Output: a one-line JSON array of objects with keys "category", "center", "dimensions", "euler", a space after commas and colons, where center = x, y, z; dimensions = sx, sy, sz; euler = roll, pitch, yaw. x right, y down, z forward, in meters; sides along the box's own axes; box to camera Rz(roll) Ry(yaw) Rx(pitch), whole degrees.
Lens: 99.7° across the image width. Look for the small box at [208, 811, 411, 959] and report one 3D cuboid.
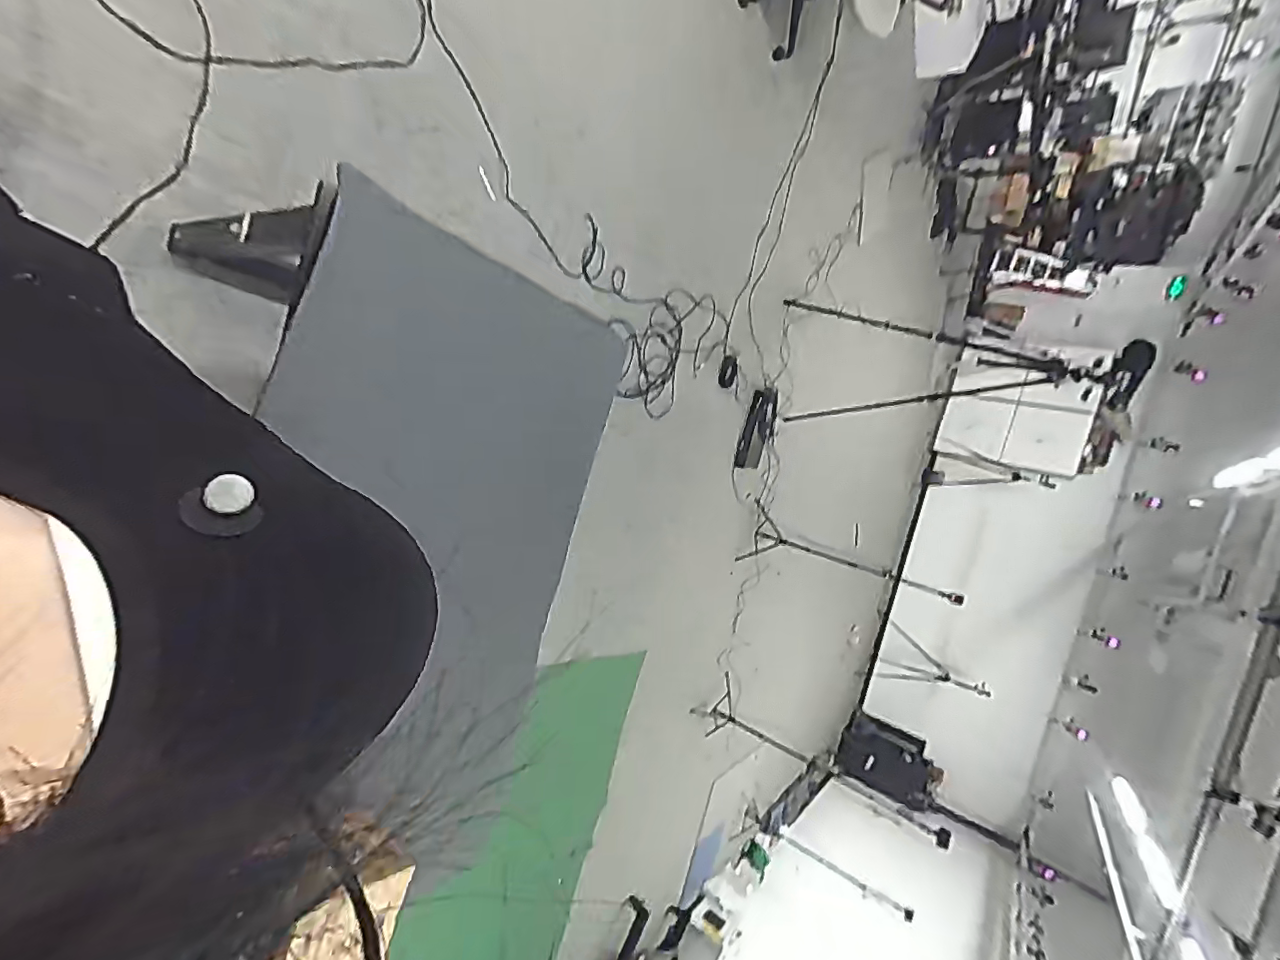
[{"category": "small box", "center": [-0.482, 0.629, 0.795], "dimensions": [0.179, 0.176, 0.168], "euler": [21, 86, -57]}]
